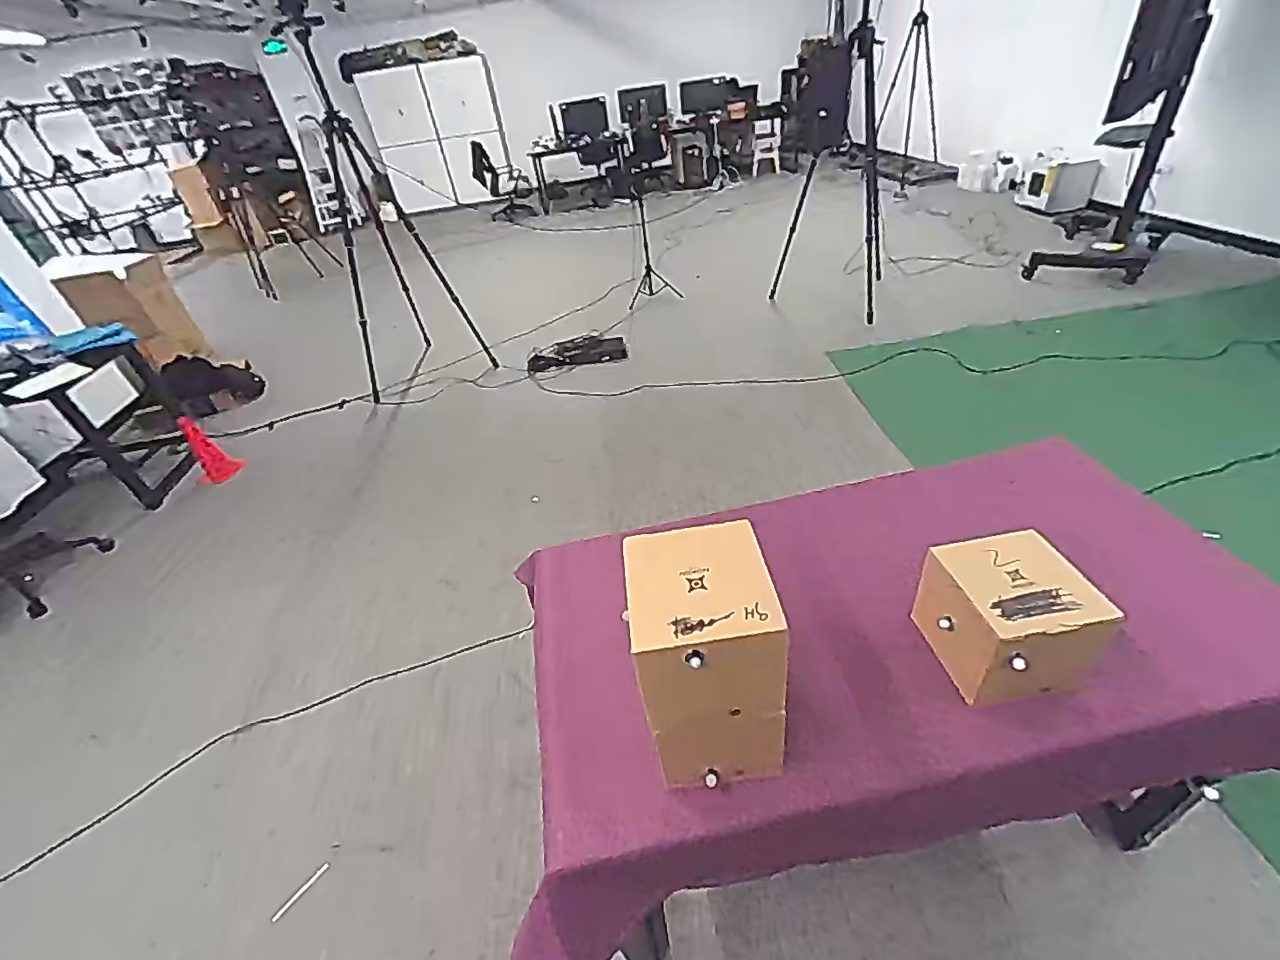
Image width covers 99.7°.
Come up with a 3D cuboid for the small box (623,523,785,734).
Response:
[{"bbox_3d":[0.075,0.182,0.672,0.168,0.176,0.179,-11,36,2],"label":"small box"}]

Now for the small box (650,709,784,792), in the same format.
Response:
[{"bbox_3d":[0.099,0.311,0.772,0.168,0.176,0.179,-10,38,2],"label":"small box"}]
